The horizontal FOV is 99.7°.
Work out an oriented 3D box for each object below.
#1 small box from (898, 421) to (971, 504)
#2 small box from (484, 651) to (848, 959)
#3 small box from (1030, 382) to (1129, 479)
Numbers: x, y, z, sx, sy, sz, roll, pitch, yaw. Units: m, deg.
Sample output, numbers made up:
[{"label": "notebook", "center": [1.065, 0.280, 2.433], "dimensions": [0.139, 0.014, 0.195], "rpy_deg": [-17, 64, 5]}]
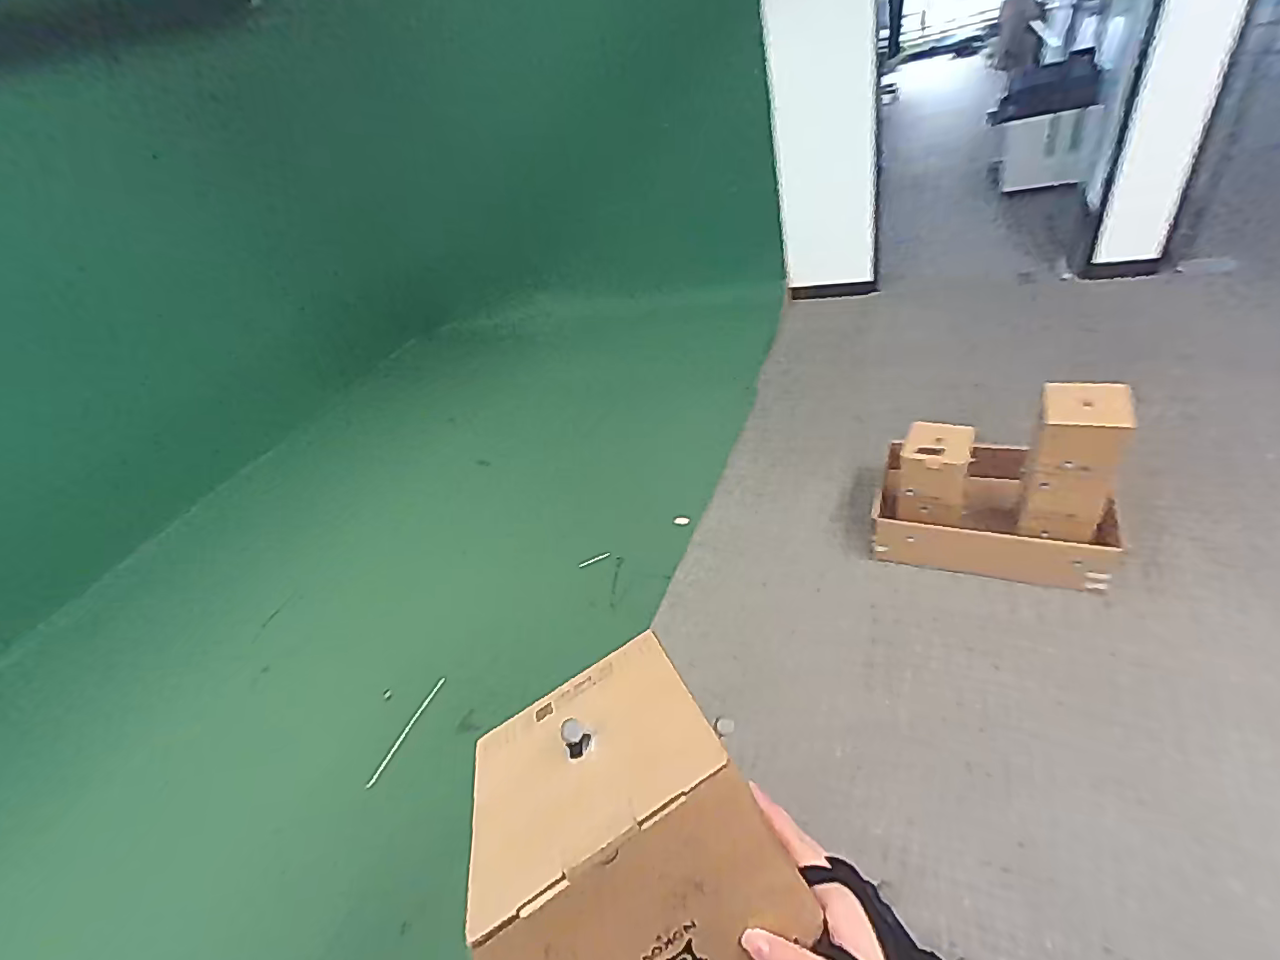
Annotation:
[{"label": "small box", "center": [0.883, -0.052, 1.629], "dimensions": [0.168, 0.176, 0.179], "rpy_deg": [11, 48, 31]}, {"label": "small box", "center": [0.006, 0.250, 0.387], "dimensions": [0.168, 0.179, 0.176], "rpy_deg": [-30, 15, -6]}, {"label": "small box", "center": [1.104, -0.129, 1.373], "dimensions": [0.168, 0.176, 0.179], "rpy_deg": [7, 47, 30]}]
